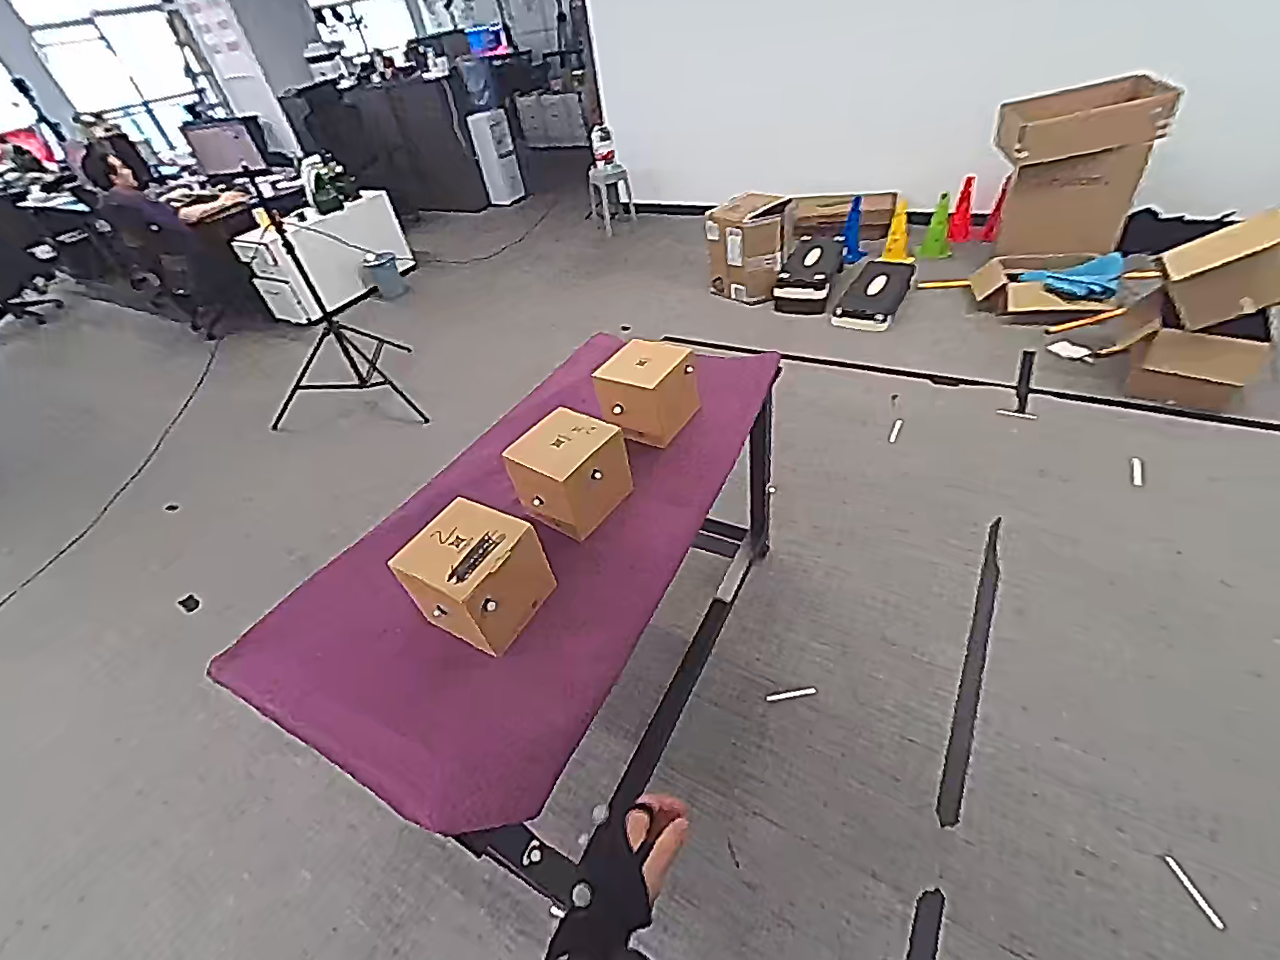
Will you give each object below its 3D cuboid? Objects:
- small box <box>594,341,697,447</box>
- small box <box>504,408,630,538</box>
[{"bbox_3d":[0.022,-0.200,1.261,0.168,0.176,0.179,18,49,30],"label":"small box"},{"bbox_3d":[-0.137,-0.013,1.088,0.168,0.176,0.179,23,51,31],"label":"small box"}]
